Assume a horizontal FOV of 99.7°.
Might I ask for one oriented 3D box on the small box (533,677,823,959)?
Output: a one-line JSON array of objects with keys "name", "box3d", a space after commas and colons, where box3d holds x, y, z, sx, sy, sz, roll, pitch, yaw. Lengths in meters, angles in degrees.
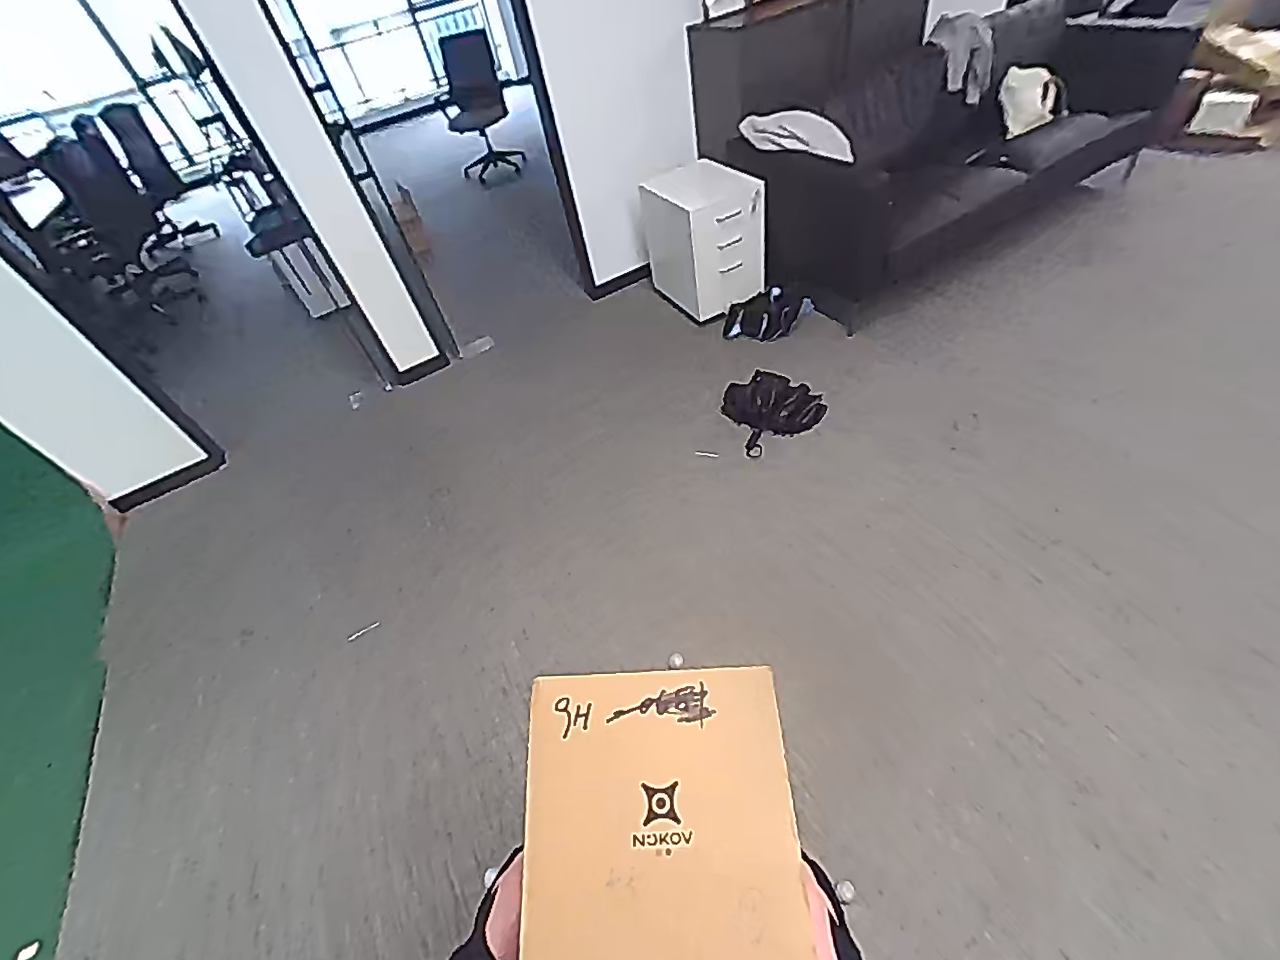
[{"name": "small box", "box3d": [0.020, 0.251, 0.399, 0.168, 0.176, 0.179, -3, 62, -1]}]
